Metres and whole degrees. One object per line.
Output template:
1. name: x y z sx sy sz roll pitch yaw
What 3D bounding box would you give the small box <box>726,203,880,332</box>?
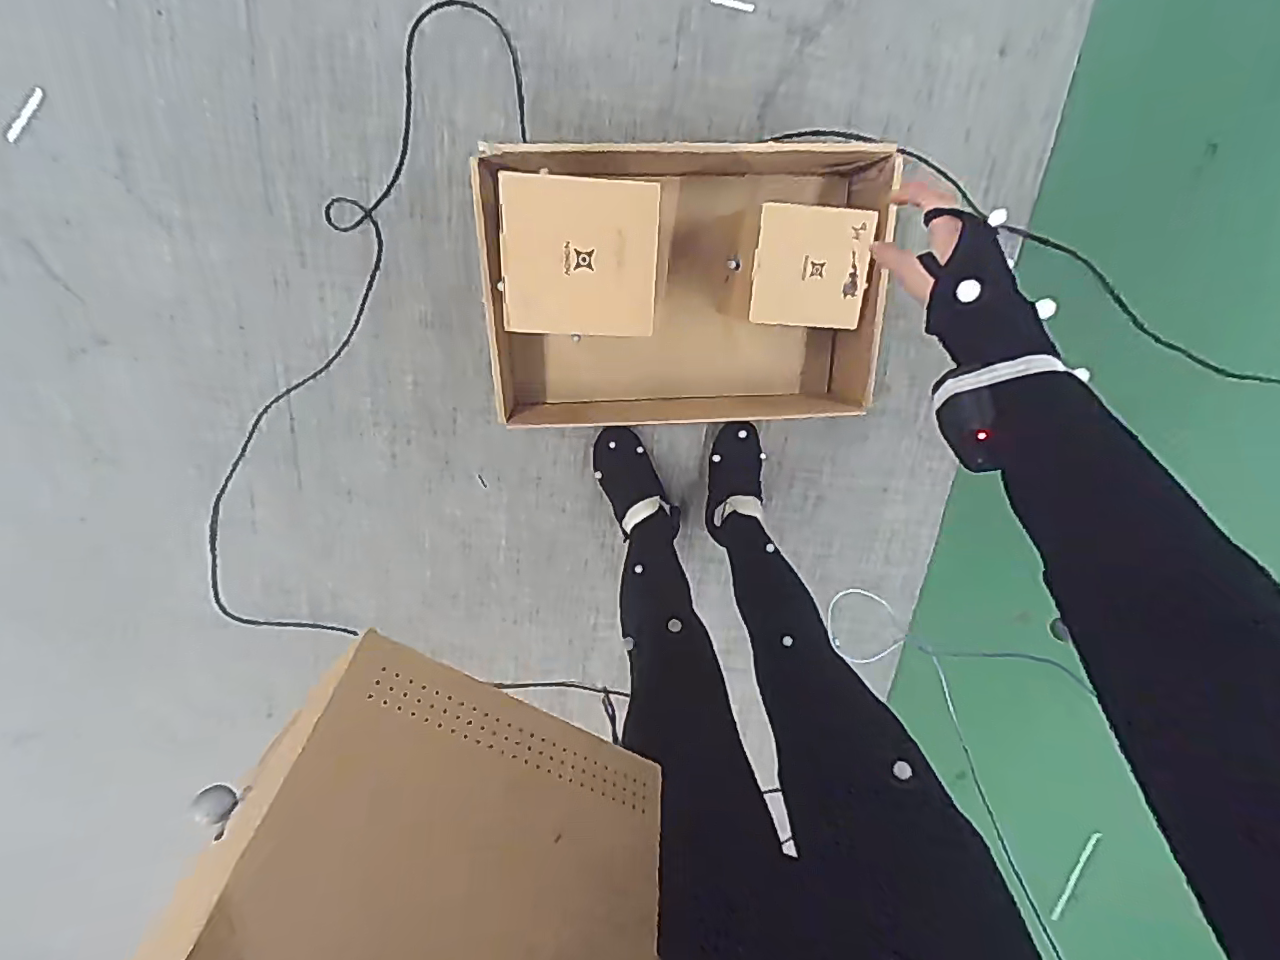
1. small box: 0.245 -0.333 0.866 0.179 0.176 0.168 3 110 -6

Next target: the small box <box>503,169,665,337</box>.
1. small box: -0.072 -0.276 0.680 0.179 0.176 0.168 1 111 -7
